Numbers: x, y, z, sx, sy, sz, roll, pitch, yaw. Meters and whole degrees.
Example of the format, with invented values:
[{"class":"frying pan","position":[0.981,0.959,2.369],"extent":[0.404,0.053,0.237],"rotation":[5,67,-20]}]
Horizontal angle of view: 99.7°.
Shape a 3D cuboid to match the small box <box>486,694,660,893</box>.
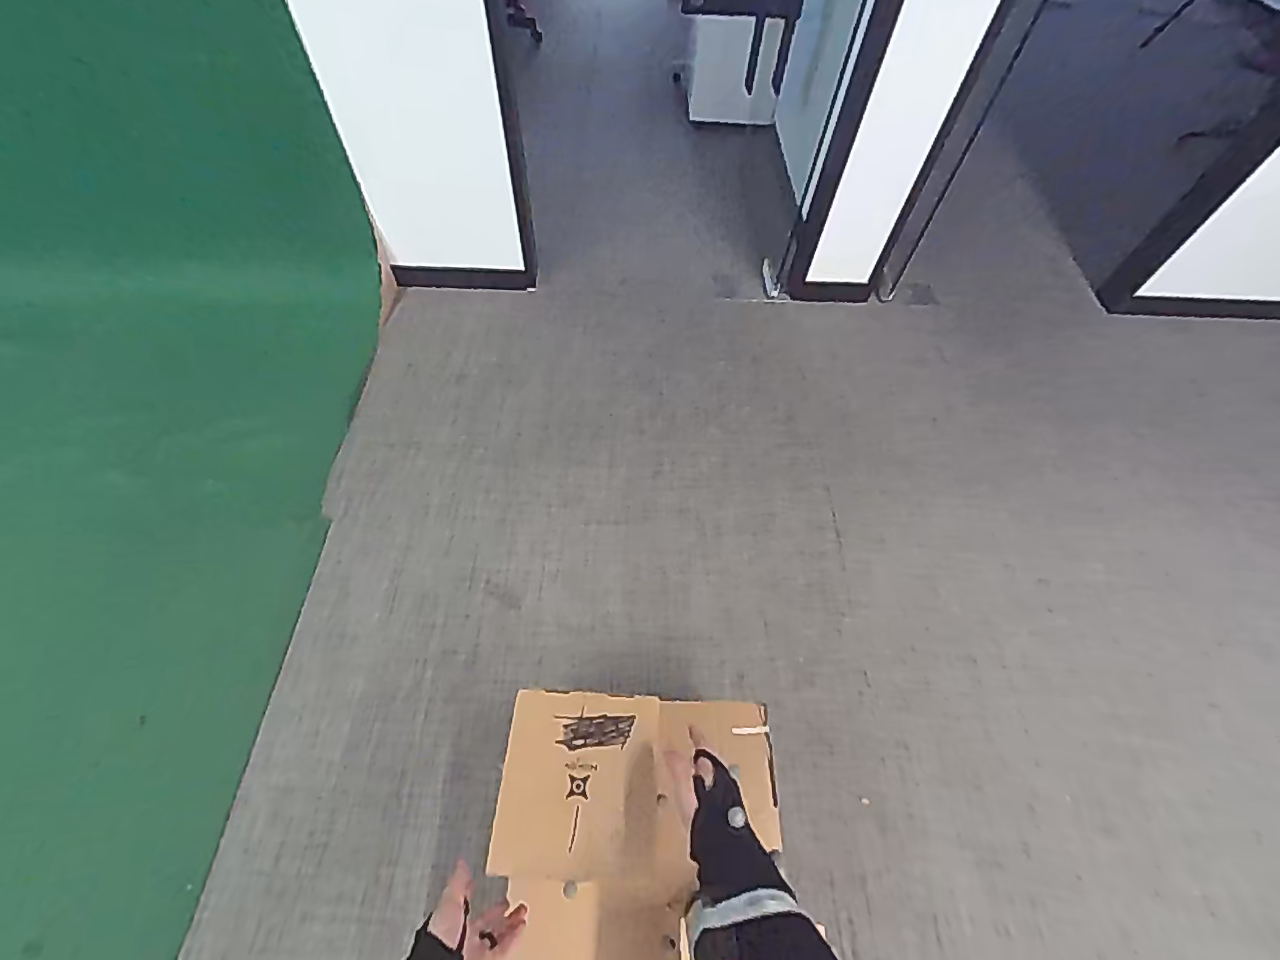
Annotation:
[{"class":"small box","position":[-0.067,0.369,0.633],"extent":[0.168,0.176,0.179],"rotation":[3,53,0]}]
